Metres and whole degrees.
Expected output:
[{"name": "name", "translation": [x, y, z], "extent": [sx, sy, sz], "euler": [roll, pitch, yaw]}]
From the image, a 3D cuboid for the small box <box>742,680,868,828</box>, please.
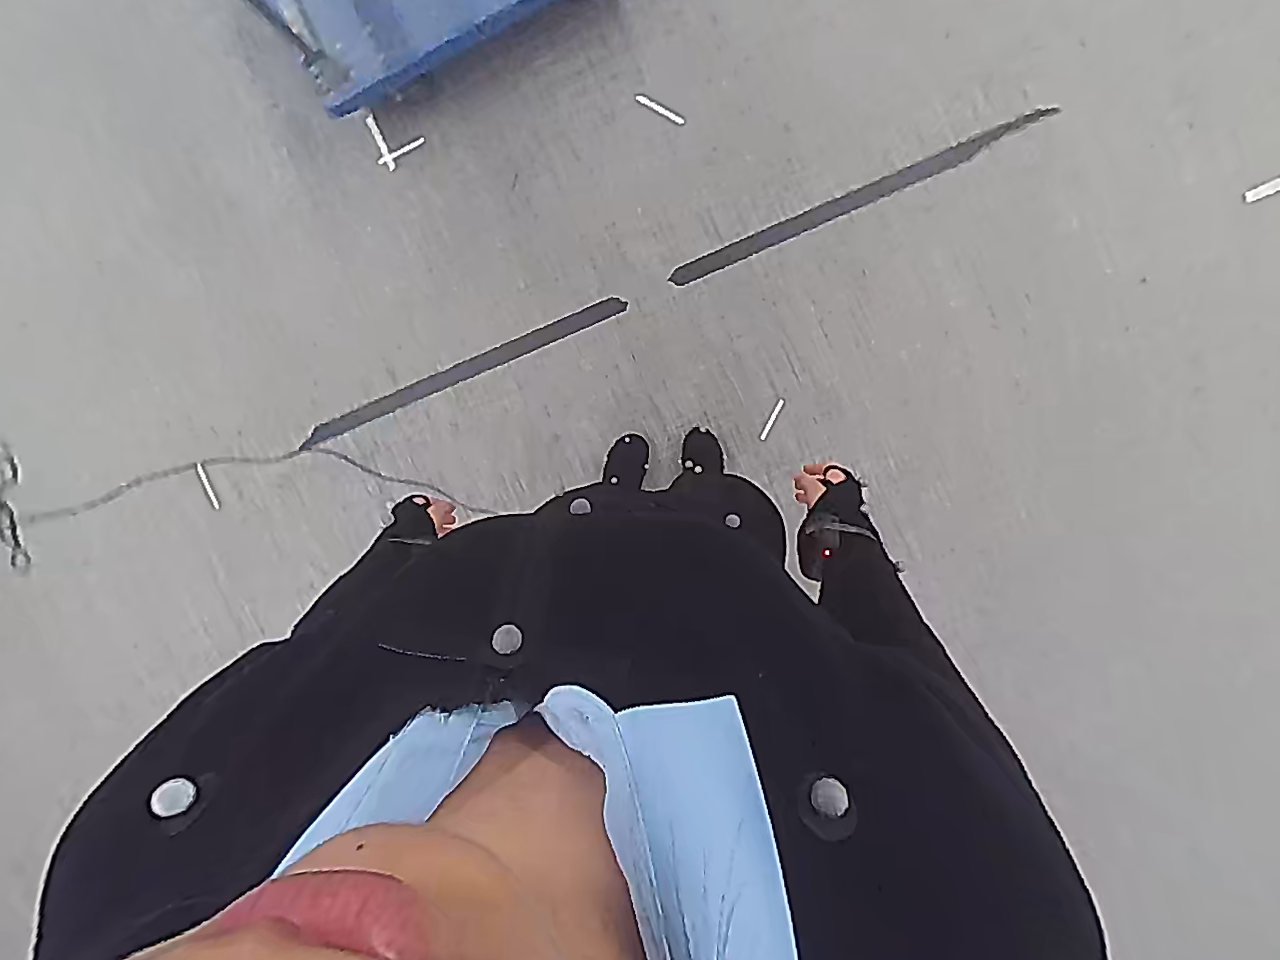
[{"name": "small box", "translation": [0.323, 0.544, 1.096], "extent": [0.168, 0.176, 0.179], "euler": [-28, 91, 4]}]
